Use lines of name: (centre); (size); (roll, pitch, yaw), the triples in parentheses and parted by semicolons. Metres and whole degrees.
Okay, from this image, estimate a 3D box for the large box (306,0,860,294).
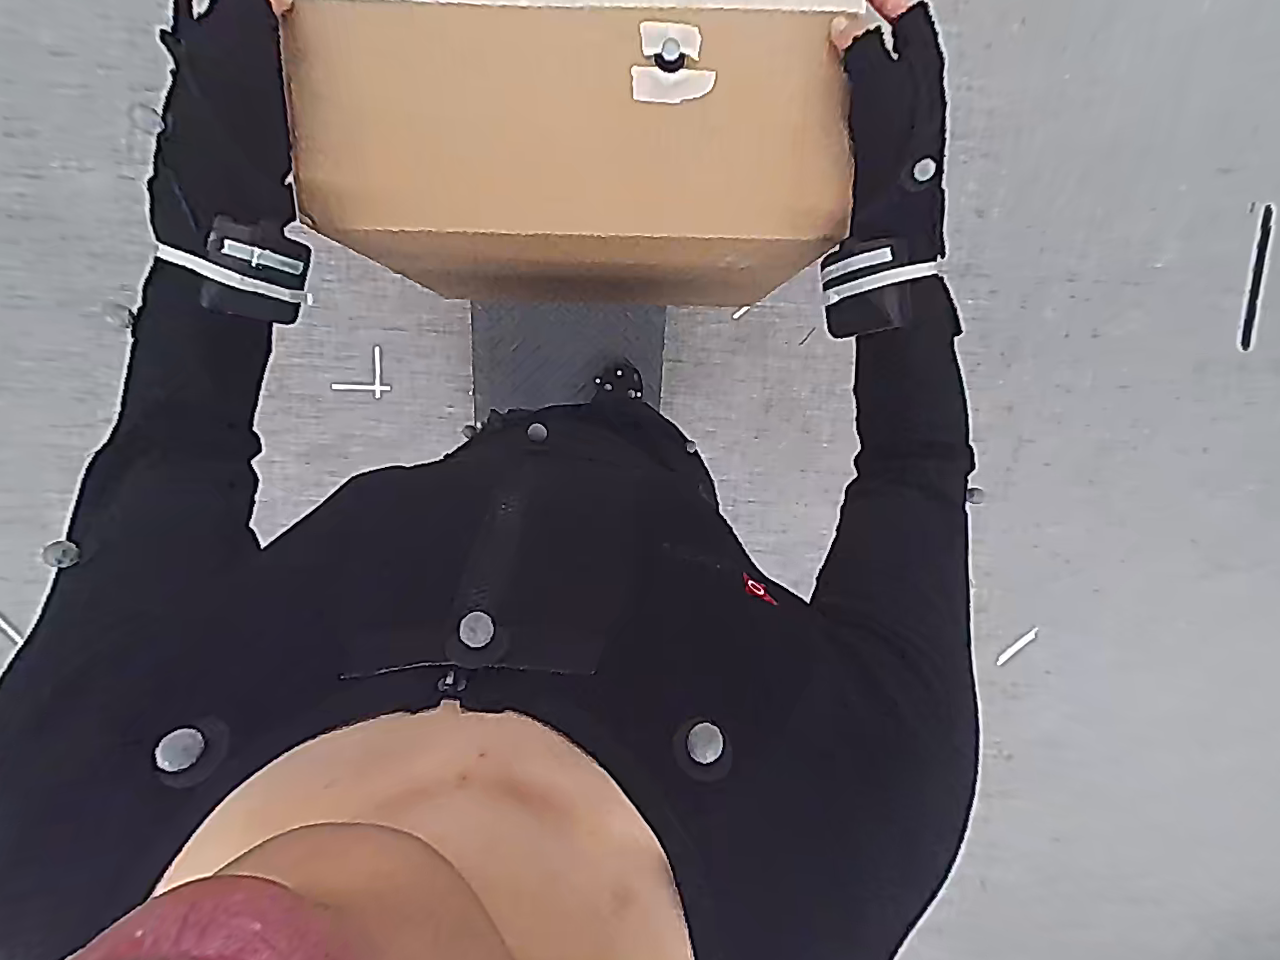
large box: (-0.044, -0.372, 0.533); (0.408, 0.320, 0.320); (0, 100, -2)
